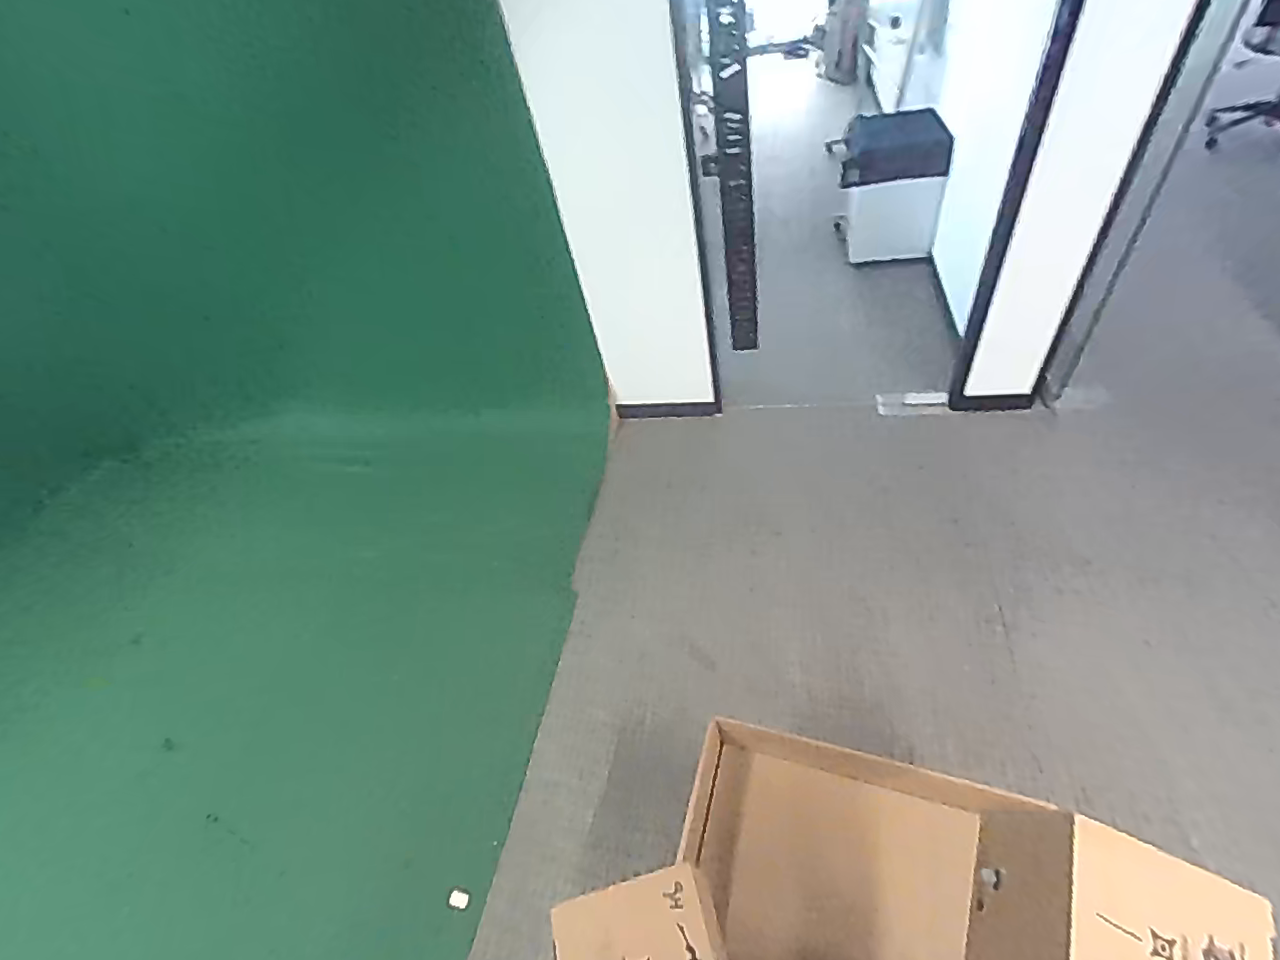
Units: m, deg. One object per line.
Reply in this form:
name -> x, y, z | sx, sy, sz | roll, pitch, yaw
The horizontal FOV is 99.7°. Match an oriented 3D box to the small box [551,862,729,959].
small box -> 0.012, 0.580, 0.638 | 0.179, 0.176, 0.168 | -18, 48, 0

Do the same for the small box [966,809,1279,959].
small box -> 0.472, 0.457, 0.548 | 0.179, 0.176, 0.168 | 21, 61, 12
